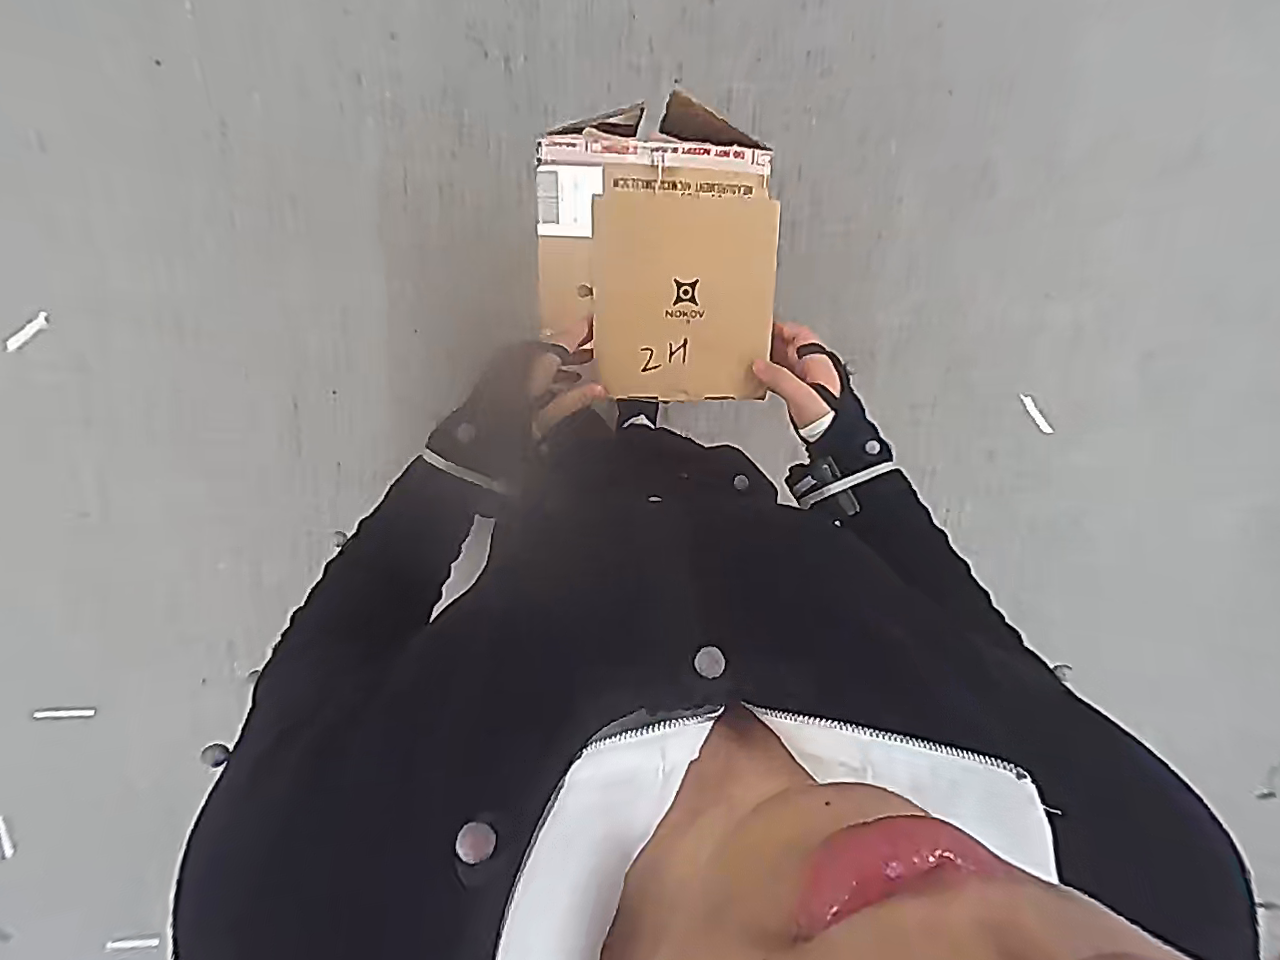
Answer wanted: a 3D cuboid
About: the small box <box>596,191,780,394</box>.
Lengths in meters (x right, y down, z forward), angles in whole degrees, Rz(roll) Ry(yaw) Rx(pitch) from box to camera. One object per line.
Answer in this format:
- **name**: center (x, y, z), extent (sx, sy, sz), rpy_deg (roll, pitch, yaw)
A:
- **small box**: center (0.037, -0.186, 0.570), extent (0.168, 0.176, 0.179), rpy_deg (-1, 105, -3)
